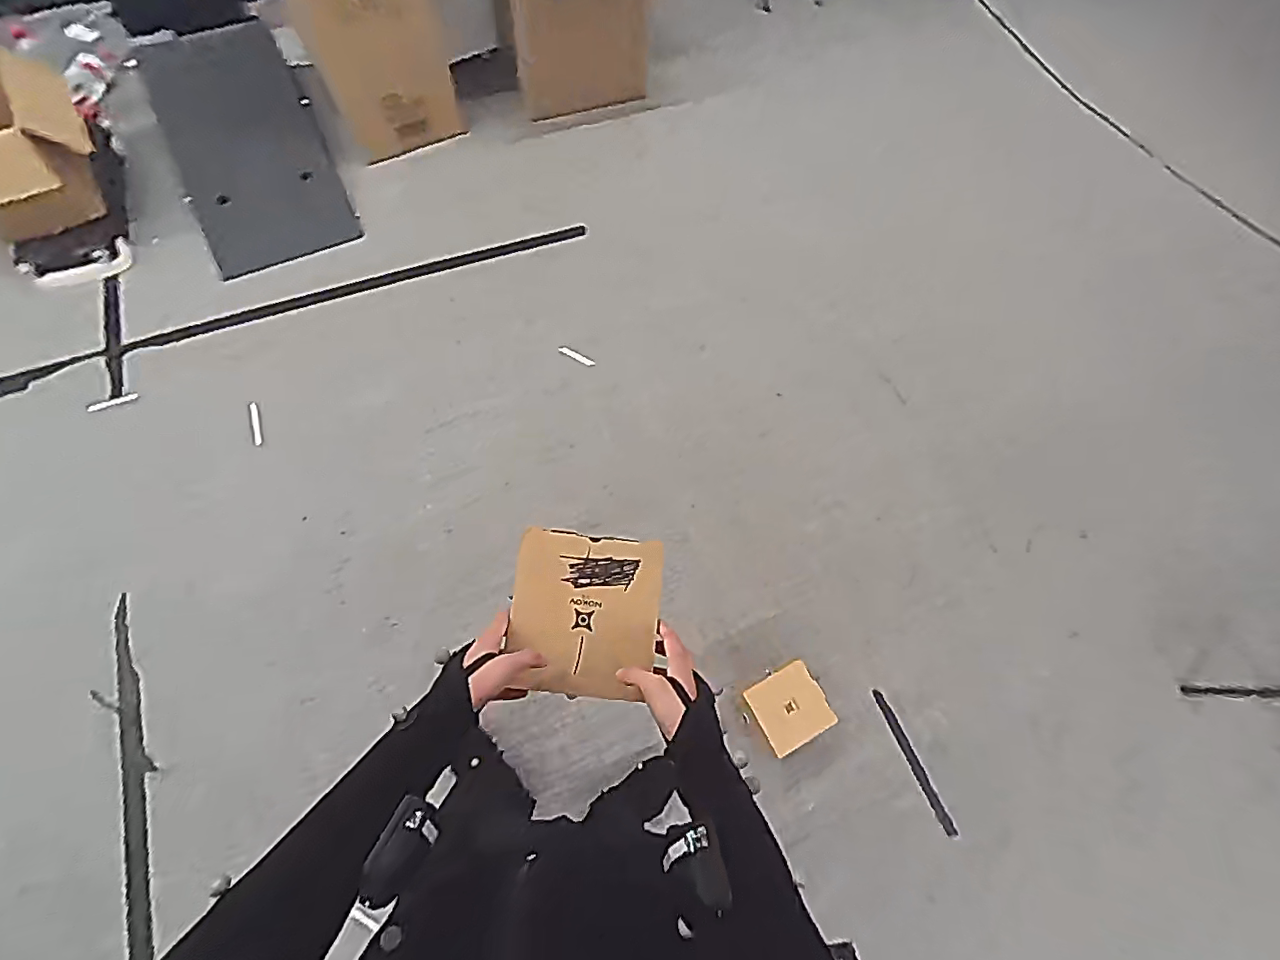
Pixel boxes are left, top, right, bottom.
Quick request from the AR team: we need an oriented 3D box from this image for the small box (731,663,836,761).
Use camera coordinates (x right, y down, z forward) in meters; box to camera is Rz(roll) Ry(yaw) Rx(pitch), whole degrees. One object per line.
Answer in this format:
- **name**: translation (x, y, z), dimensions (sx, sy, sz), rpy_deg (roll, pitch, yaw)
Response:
- **small box**: translation (0.356, 0.583, 1.375), dimensions (0.179, 0.176, 0.168), rpy_deg (-25, 71, -12)

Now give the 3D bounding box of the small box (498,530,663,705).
- **small box**: translation (-0.069, 0.171, 0.679), dimensions (0.168, 0.176, 0.179), rpy_deg (7, 74, -2)
